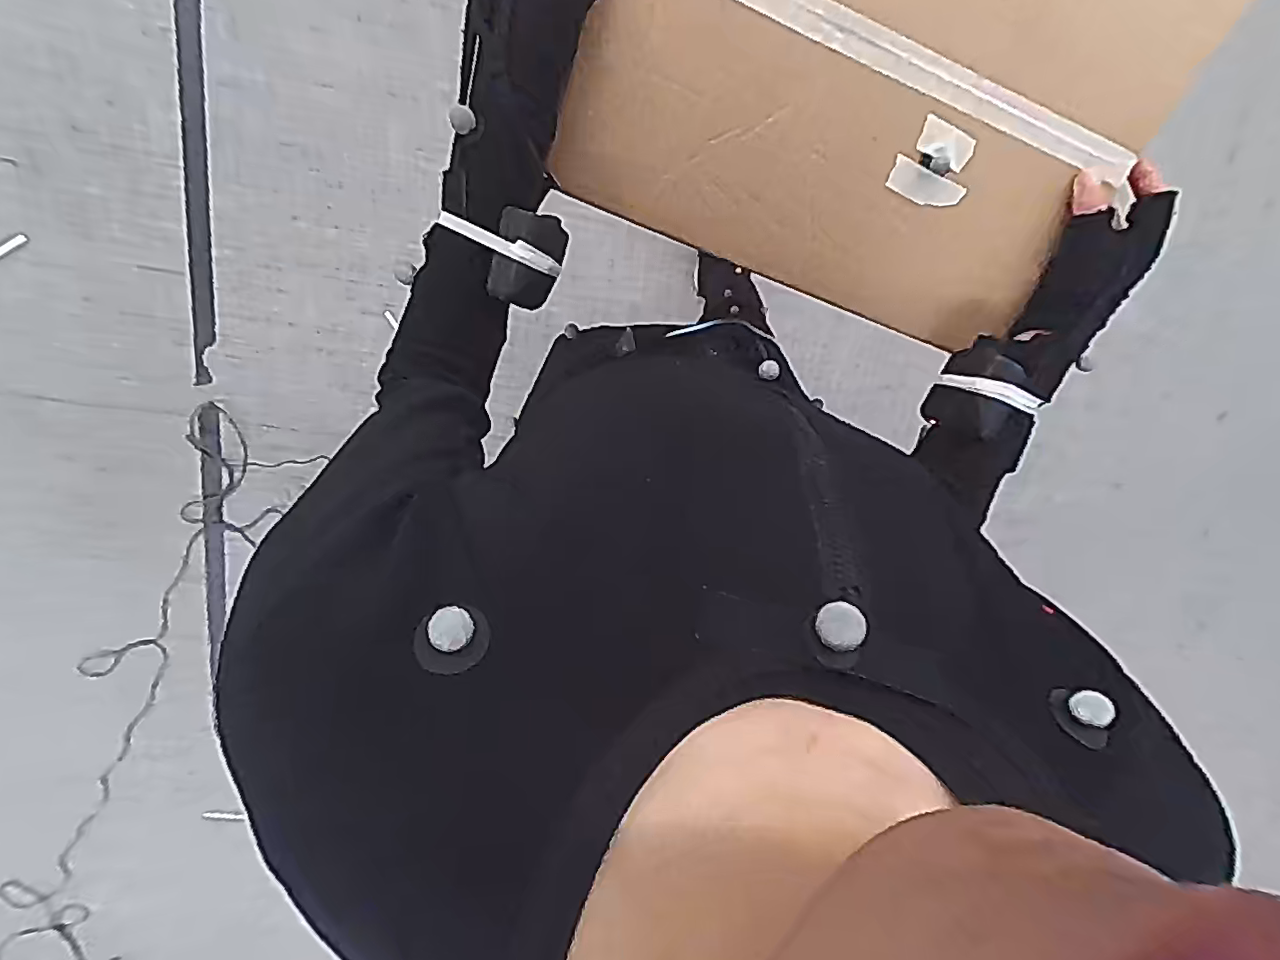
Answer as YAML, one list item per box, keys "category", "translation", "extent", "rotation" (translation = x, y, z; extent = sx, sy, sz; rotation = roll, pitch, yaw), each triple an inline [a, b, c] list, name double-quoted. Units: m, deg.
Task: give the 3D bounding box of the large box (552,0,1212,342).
- category: "large box"
  translation: [0.163, -0.378, 0.508]
  extent: [0.408, 0.320, 0.320]
  rotation: [18, 121, -11]
